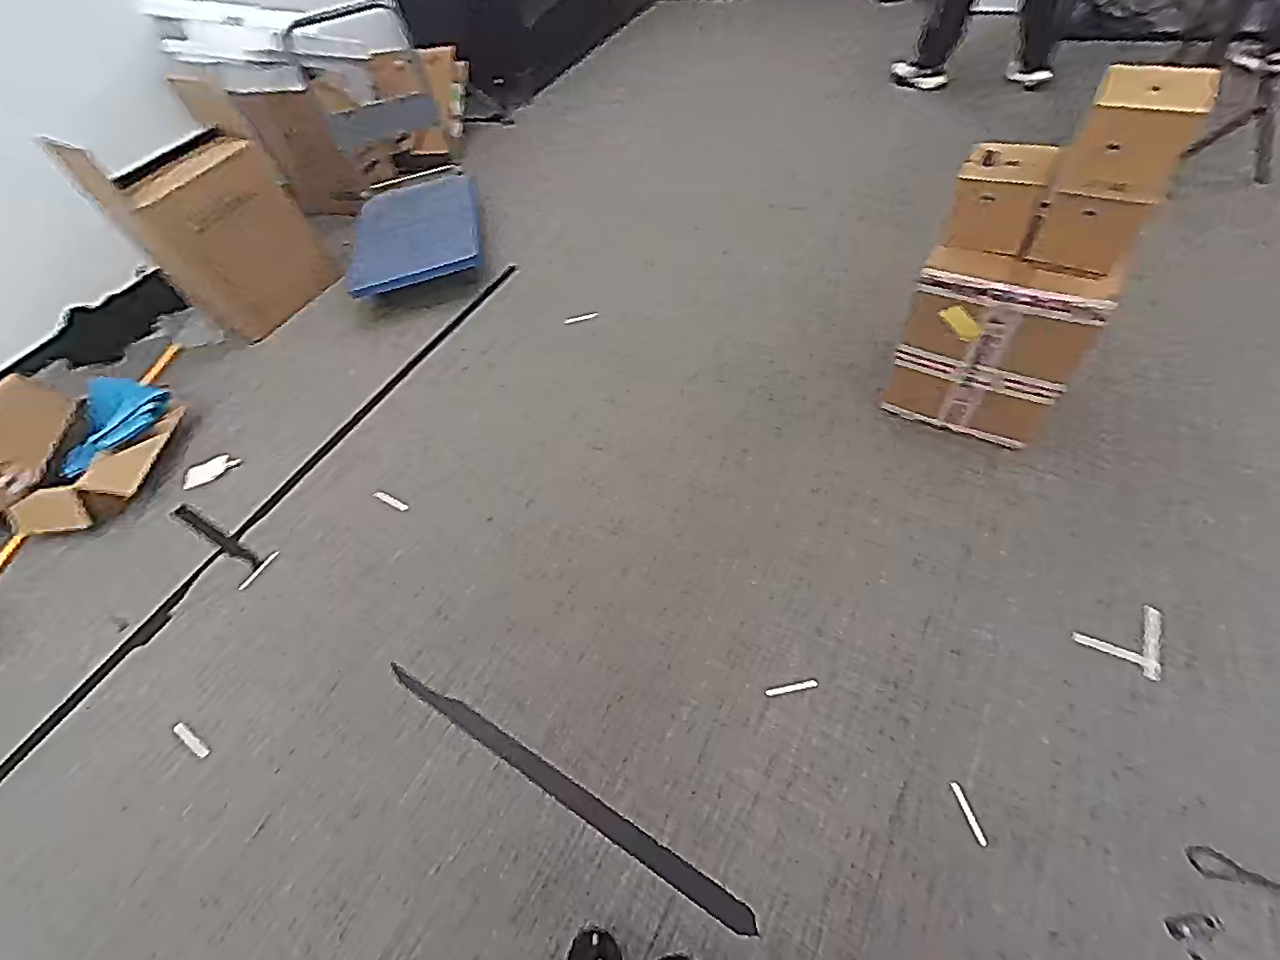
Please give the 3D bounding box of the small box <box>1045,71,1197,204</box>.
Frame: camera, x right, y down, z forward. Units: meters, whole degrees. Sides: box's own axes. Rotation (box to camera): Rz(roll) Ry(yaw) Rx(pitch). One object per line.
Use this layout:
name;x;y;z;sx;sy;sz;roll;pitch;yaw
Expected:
small box;0.944;-0.679;1.075;0.168;0.176;0.179;23;63;24
